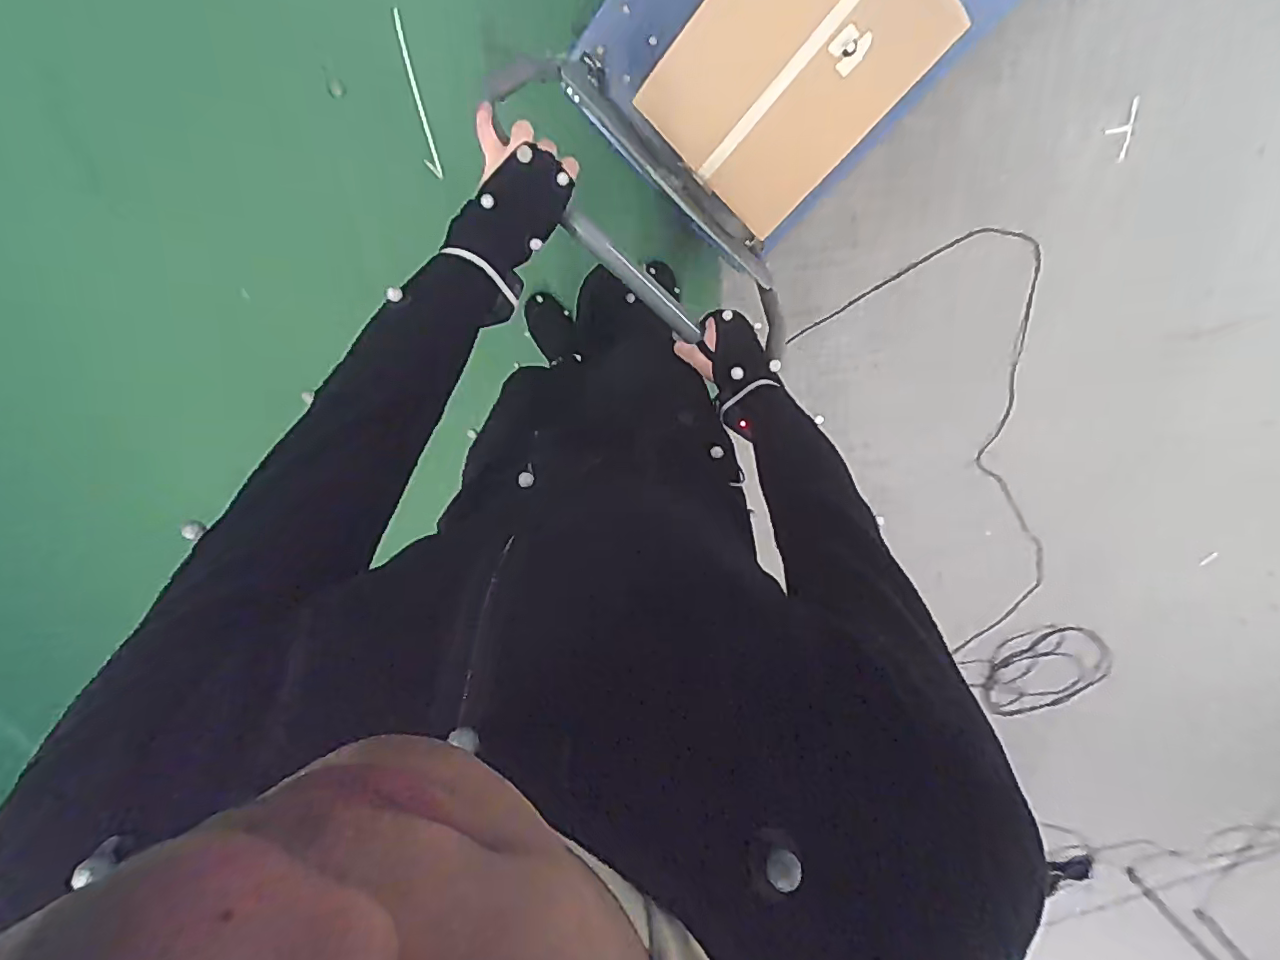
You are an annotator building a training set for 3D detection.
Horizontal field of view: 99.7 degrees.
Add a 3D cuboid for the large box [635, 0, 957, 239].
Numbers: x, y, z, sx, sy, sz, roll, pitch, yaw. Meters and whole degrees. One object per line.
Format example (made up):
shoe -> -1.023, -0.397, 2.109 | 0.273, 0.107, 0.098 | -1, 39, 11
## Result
large box -> 0.236, -0.716, 0.960 | 0.320, 0.320, 0.408 | 38, 117, -20
